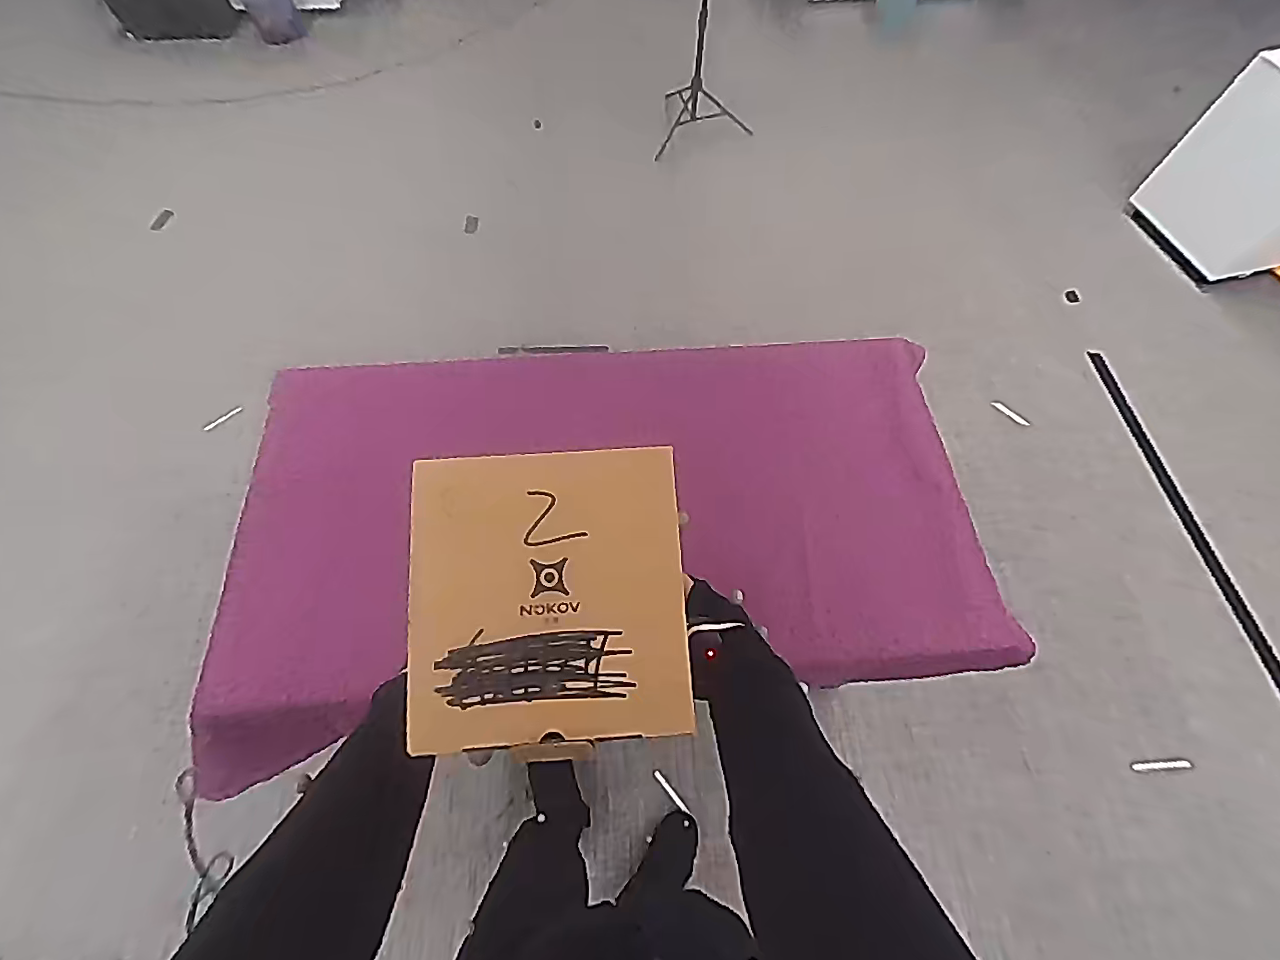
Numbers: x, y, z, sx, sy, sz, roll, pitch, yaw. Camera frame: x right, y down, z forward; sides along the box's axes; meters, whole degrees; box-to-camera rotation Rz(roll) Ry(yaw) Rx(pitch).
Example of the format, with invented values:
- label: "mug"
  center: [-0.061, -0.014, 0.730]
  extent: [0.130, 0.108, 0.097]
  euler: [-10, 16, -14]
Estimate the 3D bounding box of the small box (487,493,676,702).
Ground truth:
- label: "small box"
  center: [-0.058, 0.120, 0.565]
  extent: [0.168, 0.176, 0.179]
  euler: [-5, 78, -2]
